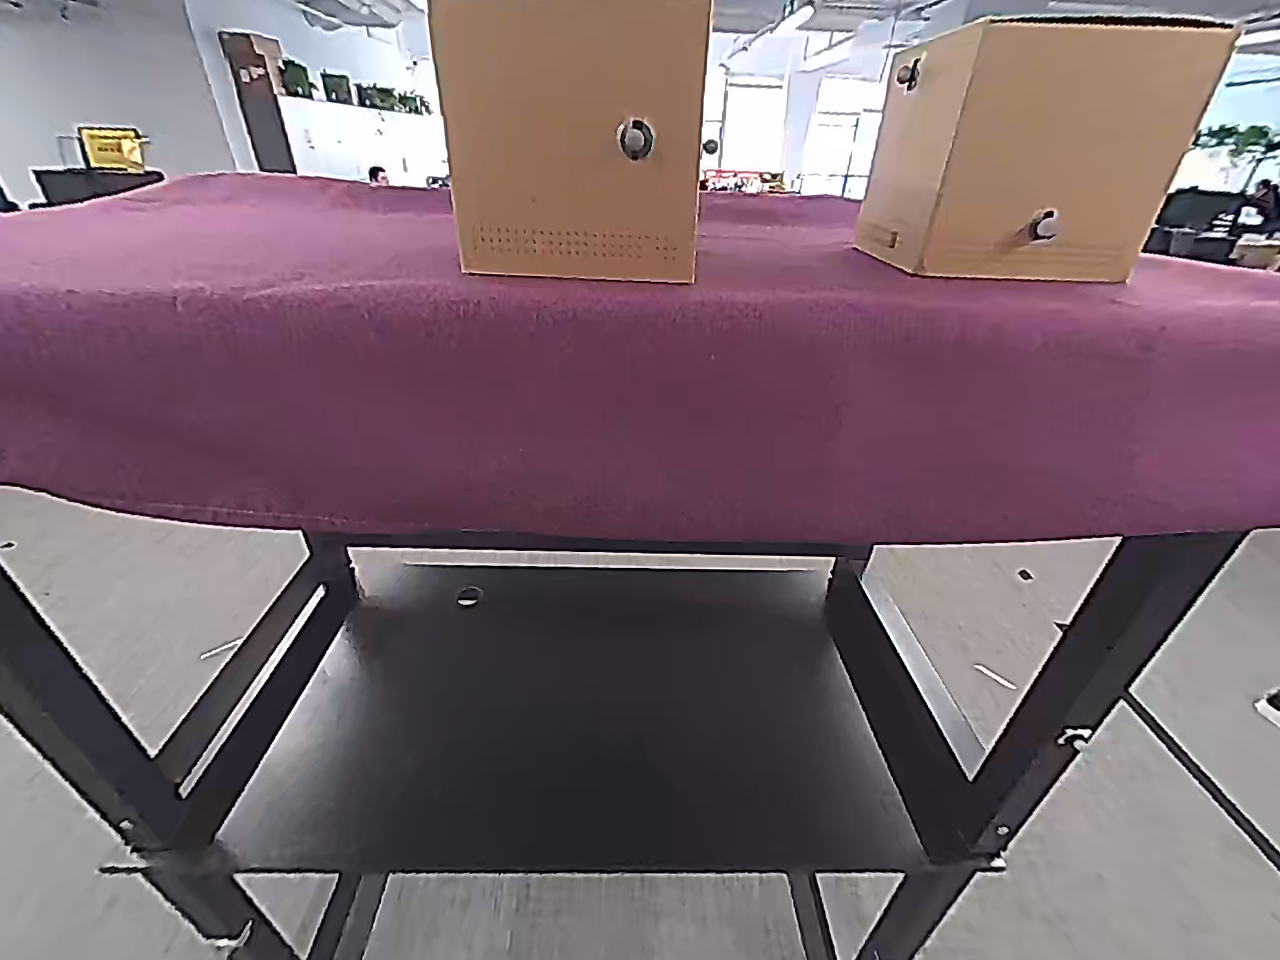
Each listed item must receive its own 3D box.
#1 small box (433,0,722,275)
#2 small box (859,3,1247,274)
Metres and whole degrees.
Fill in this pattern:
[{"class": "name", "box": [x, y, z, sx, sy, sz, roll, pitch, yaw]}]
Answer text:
[{"class": "small box", "box": [-0.035, -0.262, 0.425, 0.179, 0.176, 0.168, 3, 31, 4]}, {"class": "small box", "box": [0.317, -0.279, 0.466, 0.179, 0.176, 0.168, 2, 31, 0]}]
